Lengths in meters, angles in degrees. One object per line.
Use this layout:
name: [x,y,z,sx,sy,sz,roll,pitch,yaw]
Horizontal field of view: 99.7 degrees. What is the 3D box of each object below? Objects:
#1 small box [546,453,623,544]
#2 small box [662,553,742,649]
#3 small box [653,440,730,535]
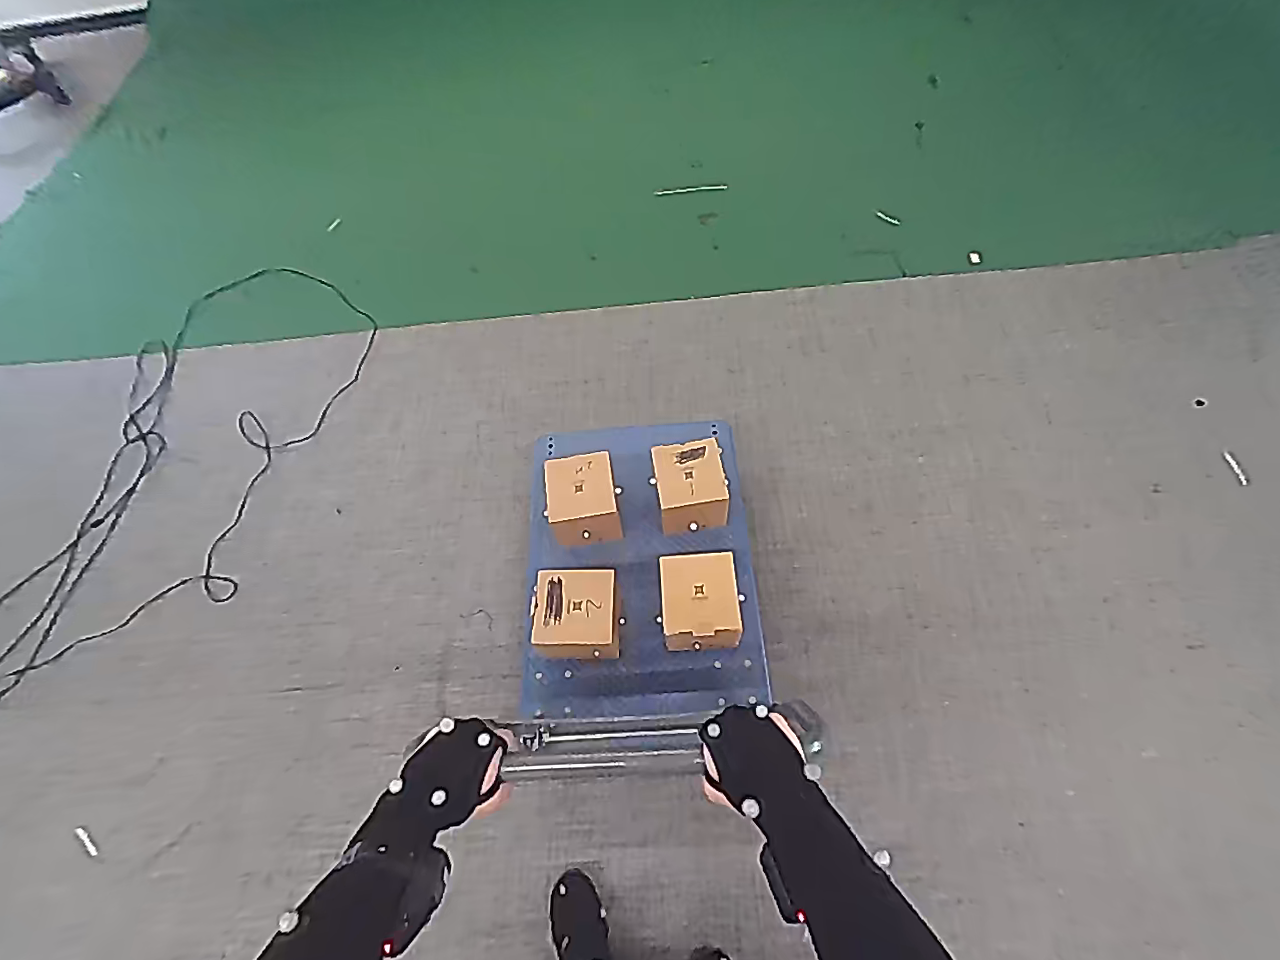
small box: [-0.140,0.055,1.391,0.168,0.176,0.179,-9,61,-1]
small box: [0.136,0.282,1.246,0.168,0.176,0.179,-4,62,2]
small box: [0.127,0.022,1.386,0.168,0.176,0.179,-9,62,1]
